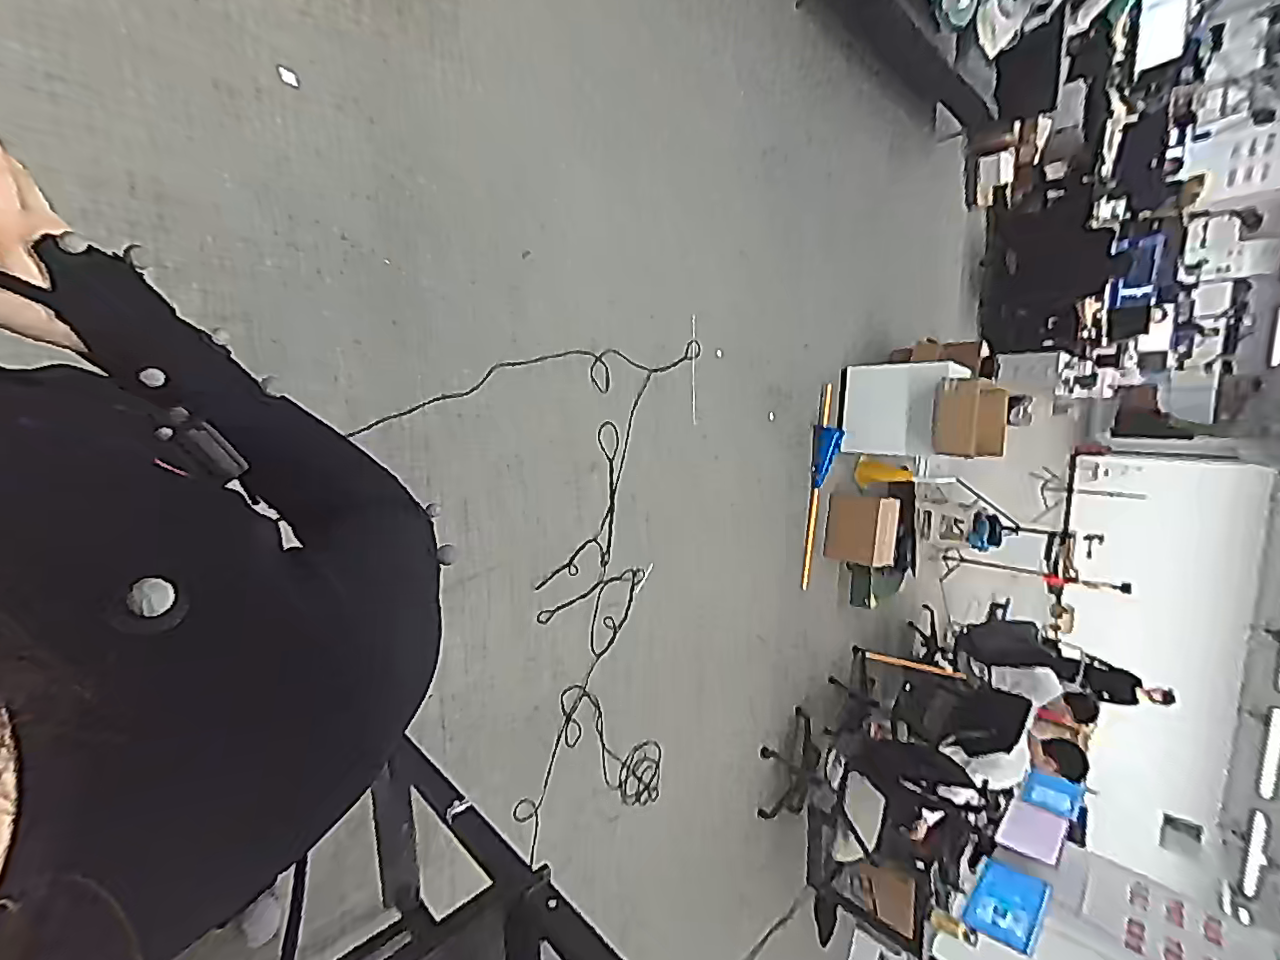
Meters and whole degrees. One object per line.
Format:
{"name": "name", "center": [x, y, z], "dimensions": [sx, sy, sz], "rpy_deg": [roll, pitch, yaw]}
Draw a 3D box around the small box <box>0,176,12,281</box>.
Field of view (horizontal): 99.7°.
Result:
{"name": "small box", "center": [-0.438, -0.206, 0.251], "dimensions": [0.168, 0.176, 0.179], "rpy_deg": [-9, 99, -43]}
